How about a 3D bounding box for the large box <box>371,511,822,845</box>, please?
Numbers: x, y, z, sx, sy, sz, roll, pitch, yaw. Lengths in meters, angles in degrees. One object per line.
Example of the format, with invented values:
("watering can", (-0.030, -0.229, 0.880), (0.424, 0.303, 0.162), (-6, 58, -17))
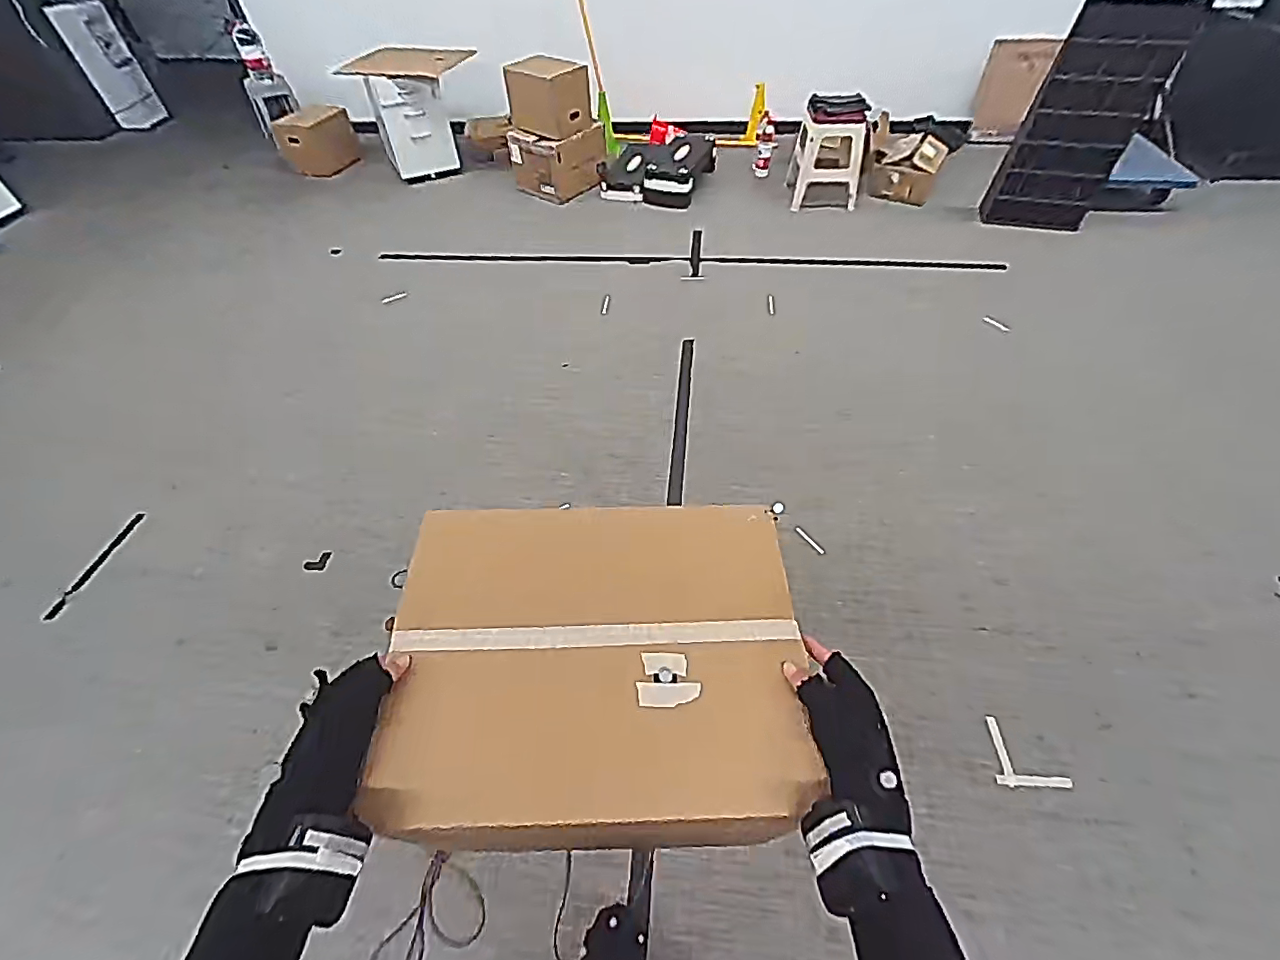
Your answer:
("large box", (-0.044, 0.253, 0.676), (0.408, 0.320, 0.320), (-1, 54, -2))
